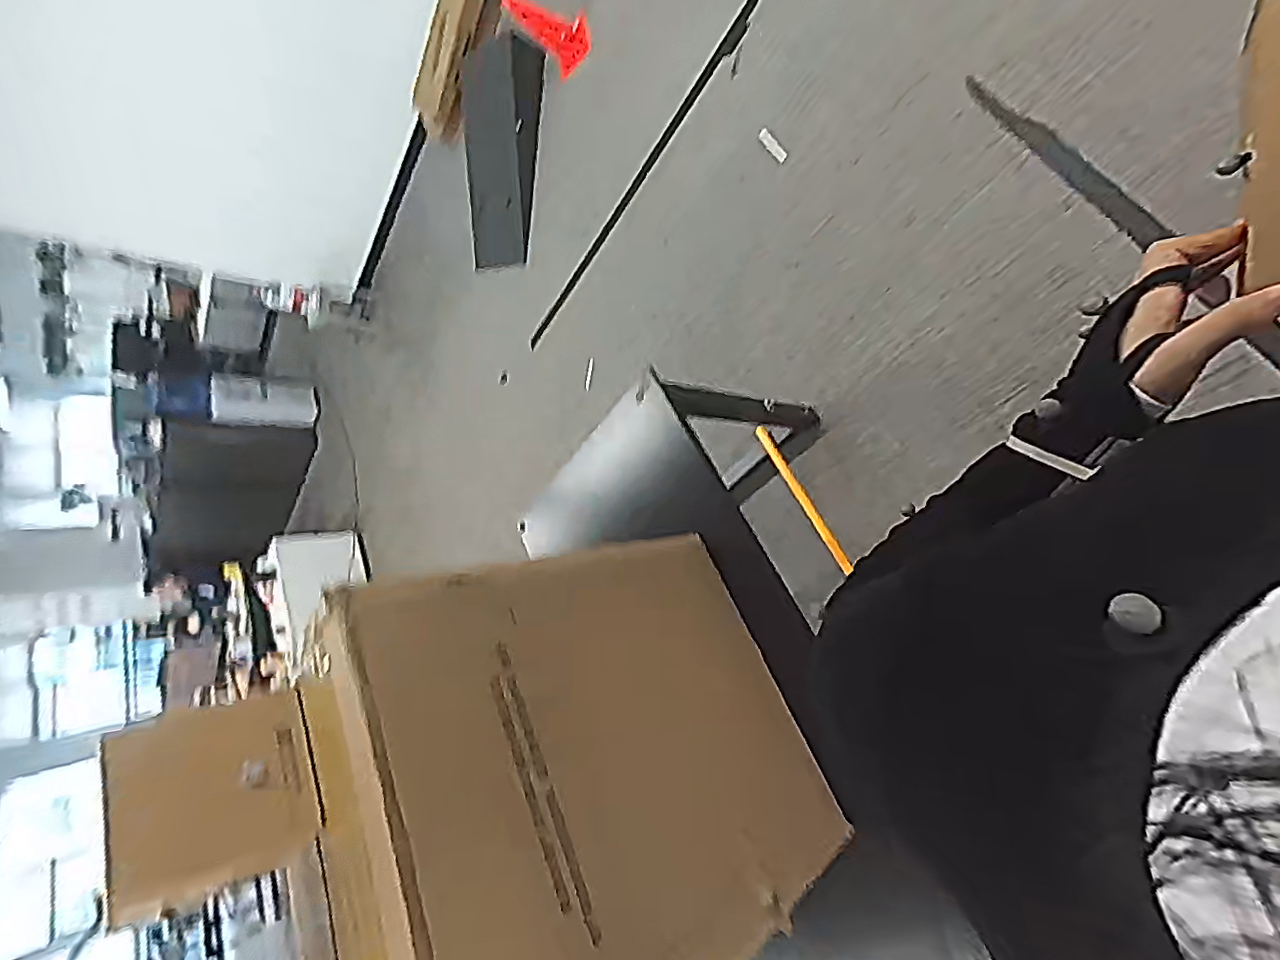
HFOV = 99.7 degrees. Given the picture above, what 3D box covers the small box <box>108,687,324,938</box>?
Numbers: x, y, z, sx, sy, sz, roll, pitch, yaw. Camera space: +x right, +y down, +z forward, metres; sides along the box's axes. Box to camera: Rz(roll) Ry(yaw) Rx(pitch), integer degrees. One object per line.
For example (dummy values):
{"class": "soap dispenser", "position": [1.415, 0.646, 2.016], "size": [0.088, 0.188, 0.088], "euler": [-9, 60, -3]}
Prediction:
{"class": "small box", "position": [-0.471, 0.360, 0.603], "size": [0.179, 0.176, 0.168], "euler": [-49, 59, 35]}
